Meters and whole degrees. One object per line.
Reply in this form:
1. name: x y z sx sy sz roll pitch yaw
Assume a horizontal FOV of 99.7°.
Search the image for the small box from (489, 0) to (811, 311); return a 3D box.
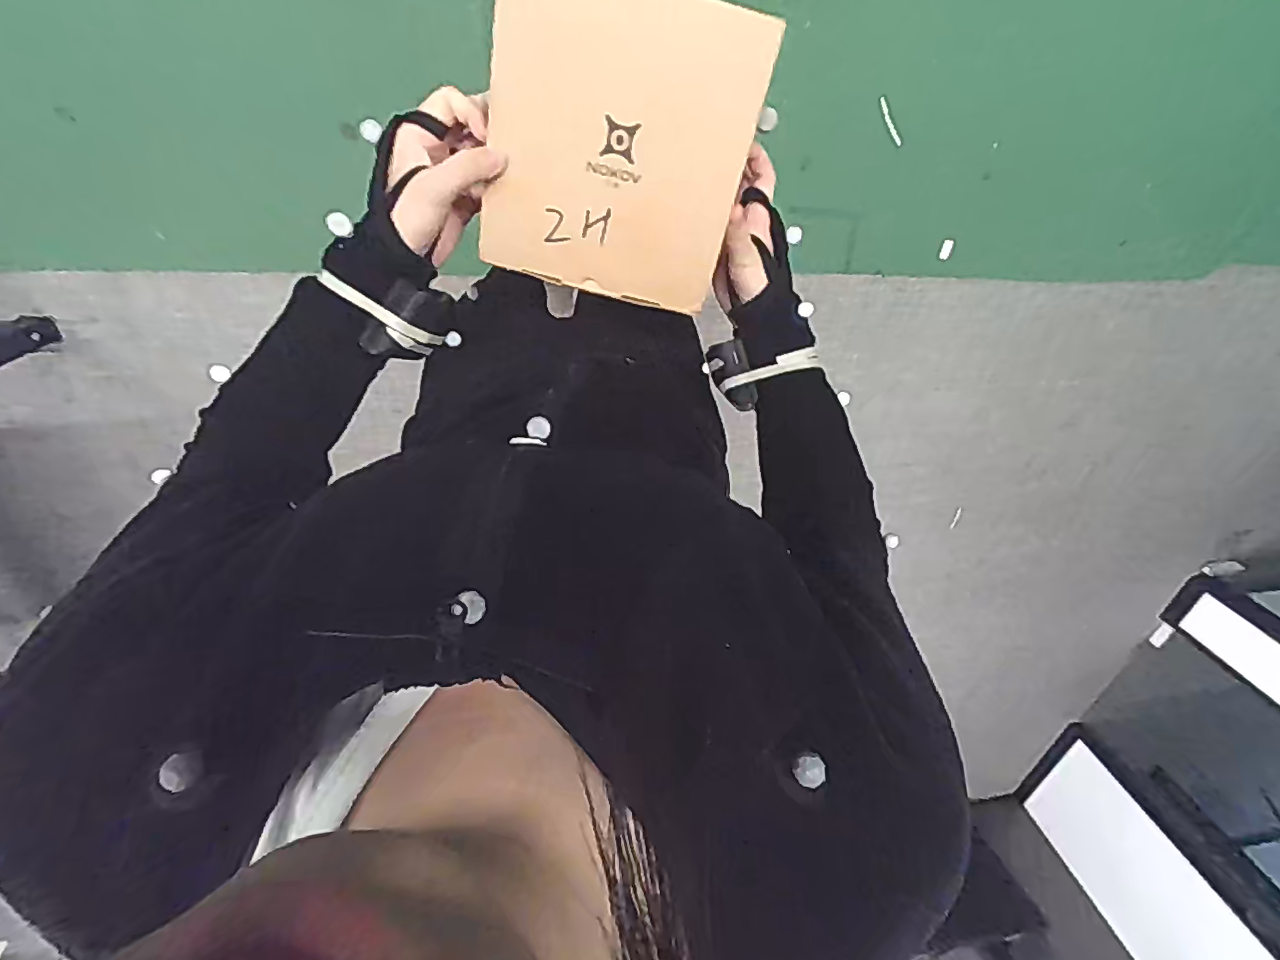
1. small box: -0.002 -0.252 0.404 0.168 0.176 0.179 14 121 -7
